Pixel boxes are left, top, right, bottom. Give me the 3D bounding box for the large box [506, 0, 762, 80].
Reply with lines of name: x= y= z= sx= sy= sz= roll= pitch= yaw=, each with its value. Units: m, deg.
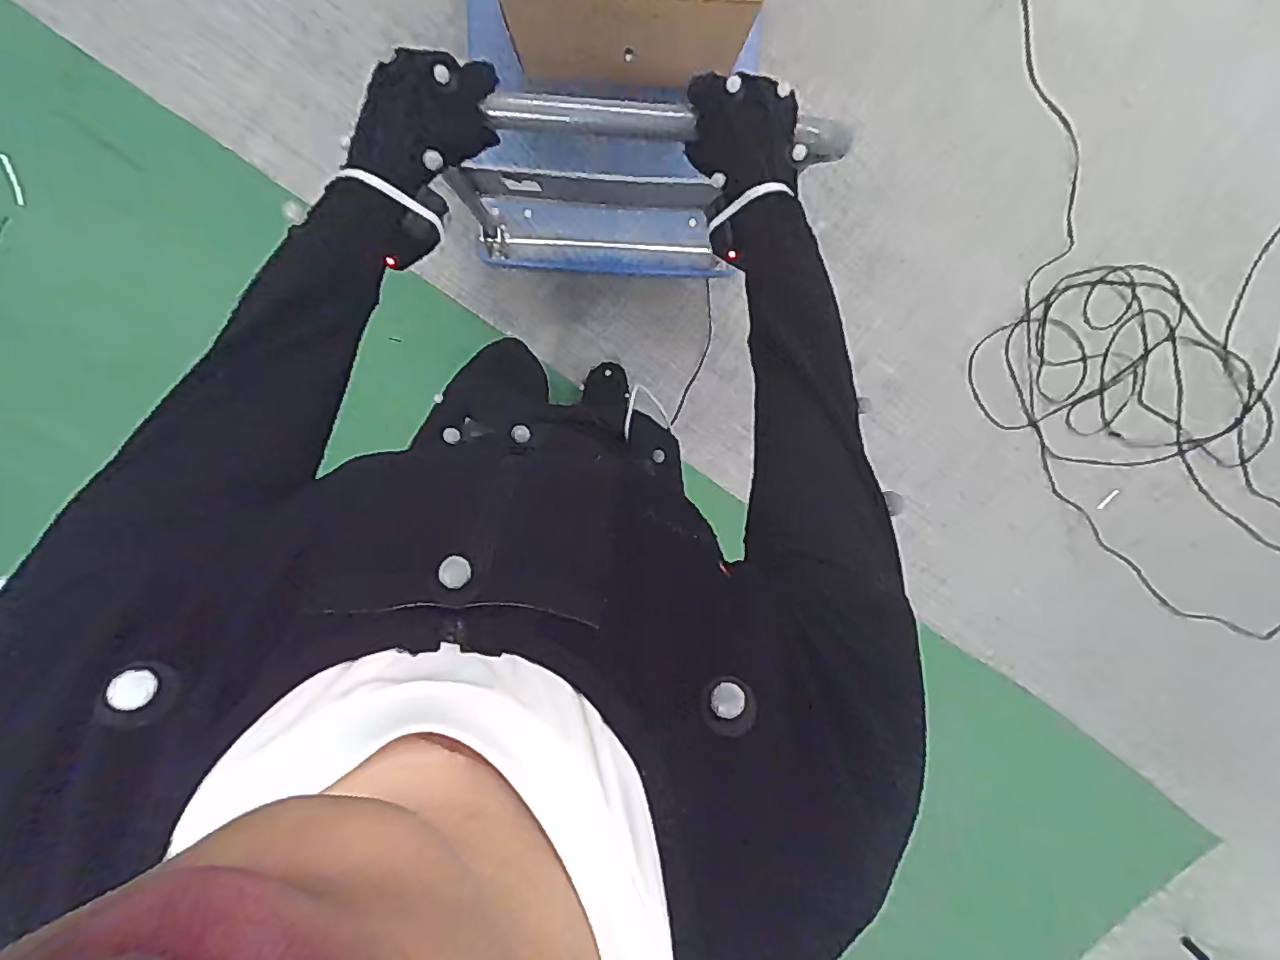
large box: x=-0.012 y=-0.916 z=0.910 sx=0.408 sy=0.320 sz=0.320 roll=0 pitch=105 yaw=-3
